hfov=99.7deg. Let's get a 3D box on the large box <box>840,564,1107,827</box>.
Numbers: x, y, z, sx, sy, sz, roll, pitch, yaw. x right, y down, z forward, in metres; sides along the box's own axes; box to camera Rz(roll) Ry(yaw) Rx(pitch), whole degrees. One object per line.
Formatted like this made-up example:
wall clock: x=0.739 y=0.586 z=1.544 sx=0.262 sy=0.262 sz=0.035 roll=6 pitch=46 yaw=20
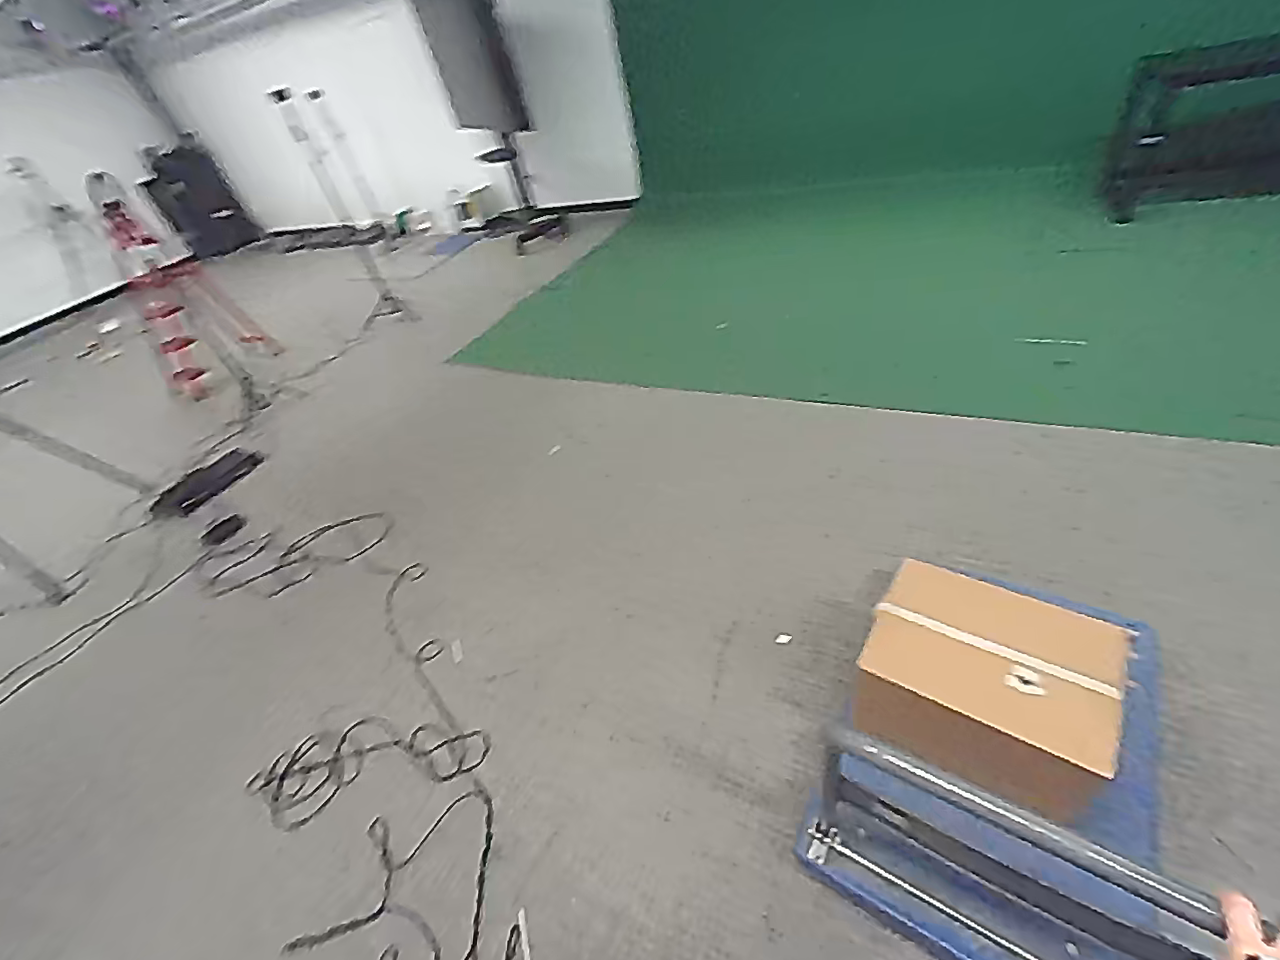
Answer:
large box: x=0.691 y=0.447 z=1.171 sx=0.408 sy=0.320 sz=0.320 roll=19 pitch=51 yaw=32
